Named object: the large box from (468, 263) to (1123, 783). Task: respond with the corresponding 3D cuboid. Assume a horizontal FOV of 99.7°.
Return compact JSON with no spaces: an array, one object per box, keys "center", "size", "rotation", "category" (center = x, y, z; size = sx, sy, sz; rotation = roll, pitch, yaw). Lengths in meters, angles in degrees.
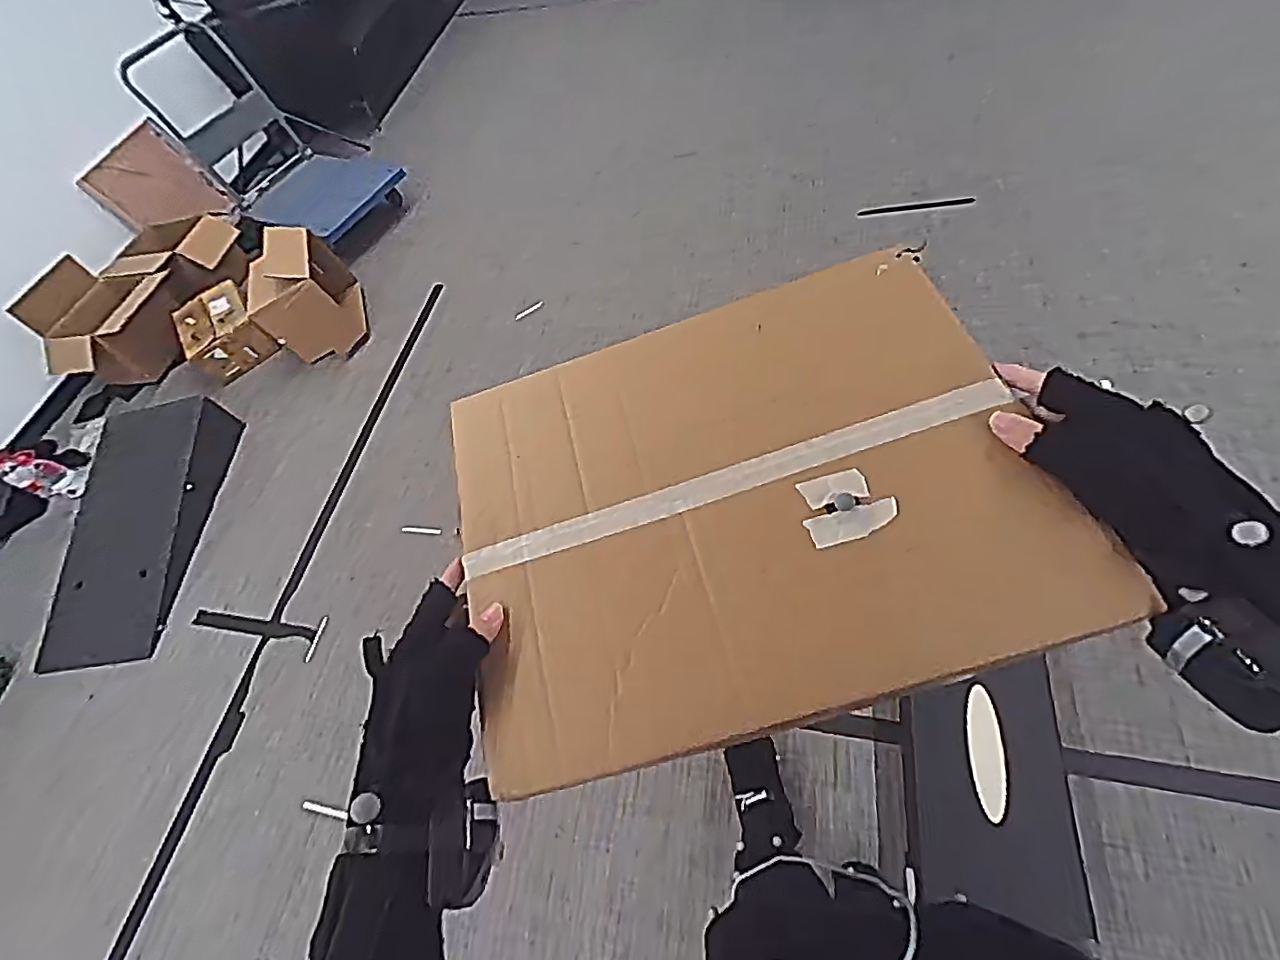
[{"center":[0.097,0.068,0.536],"size":[0.408,0.320,0.320],"rotation":[-18,63,4],"category":"large box"}]
